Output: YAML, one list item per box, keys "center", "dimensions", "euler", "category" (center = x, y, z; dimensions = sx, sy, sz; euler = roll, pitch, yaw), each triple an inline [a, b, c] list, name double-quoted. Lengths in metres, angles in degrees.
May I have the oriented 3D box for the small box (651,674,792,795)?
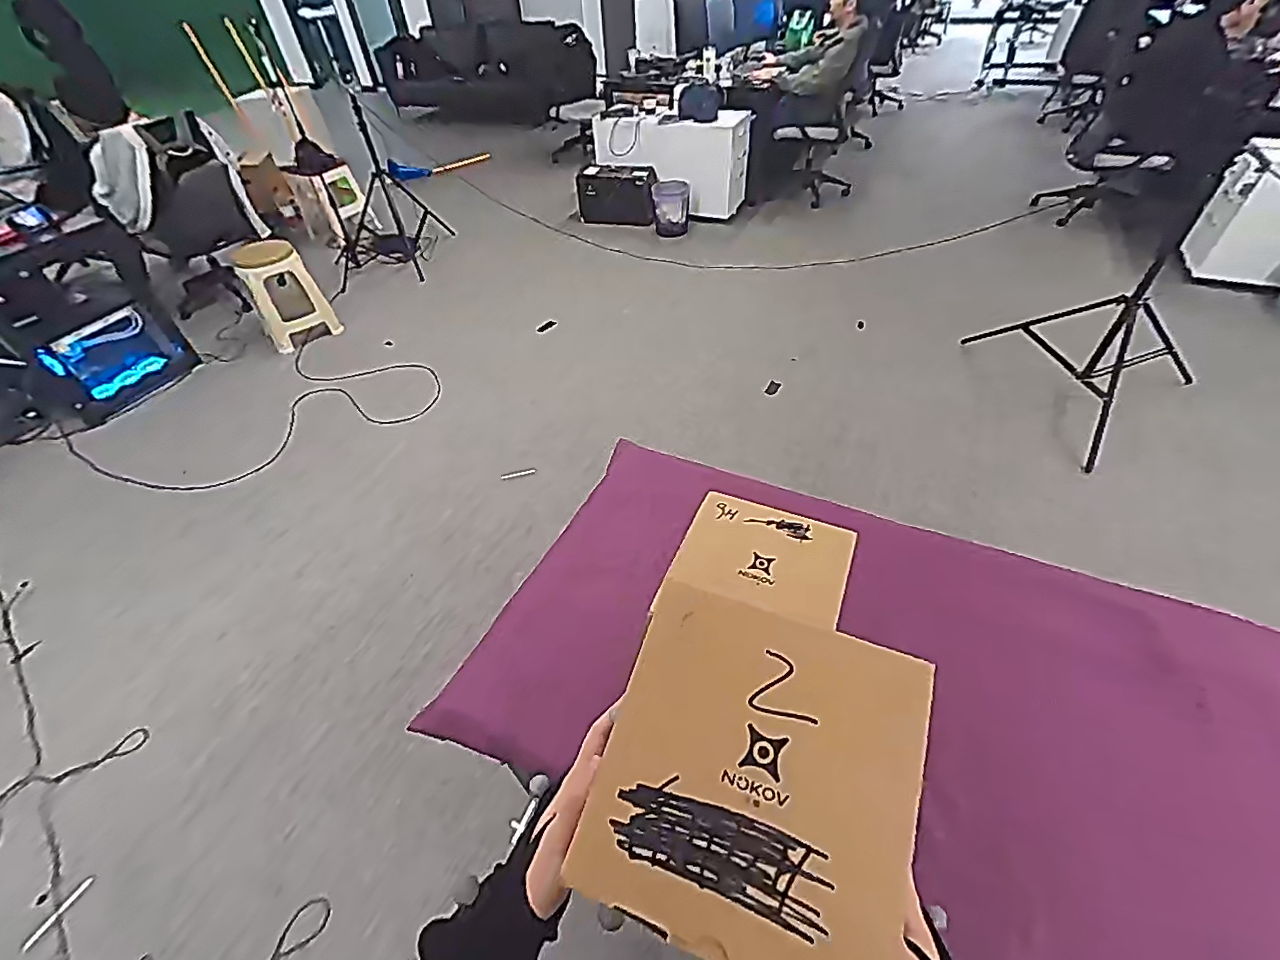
- center: [0.127, 0.274, 0.710]
  dimensions: [0.168, 0.176, 0.179]
  euler: [18, 48, 20]
  category: "small box"

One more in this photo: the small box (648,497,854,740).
- center: [0.121, 0.153, 0.599]
  dimensions: [0.168, 0.176, 0.179]
  euler: [16, 48, 19]
  category: "small box"
